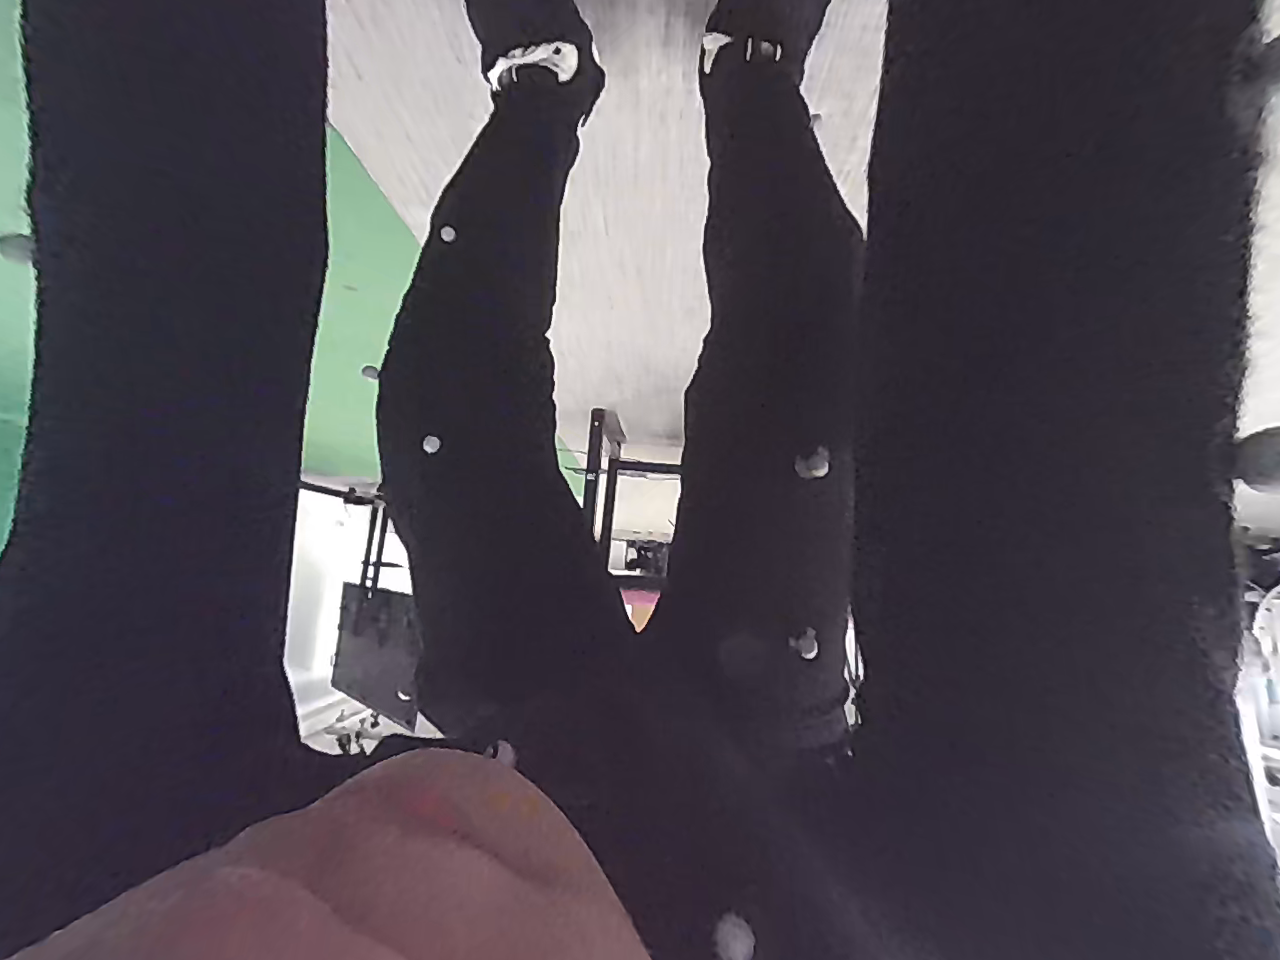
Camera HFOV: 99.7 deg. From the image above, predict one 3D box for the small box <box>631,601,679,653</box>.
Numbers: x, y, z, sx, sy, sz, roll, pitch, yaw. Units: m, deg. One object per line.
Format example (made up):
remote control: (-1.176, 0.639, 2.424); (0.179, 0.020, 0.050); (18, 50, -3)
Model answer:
small box: (0.059, 0.563, 2.082); (0.179, 0.176, 0.168); (4, 171, 2)

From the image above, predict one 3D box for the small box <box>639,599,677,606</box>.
small box: (0.069, 0.606, 2.329); (0.168, 0.176, 0.179); (5, 170, 4)
